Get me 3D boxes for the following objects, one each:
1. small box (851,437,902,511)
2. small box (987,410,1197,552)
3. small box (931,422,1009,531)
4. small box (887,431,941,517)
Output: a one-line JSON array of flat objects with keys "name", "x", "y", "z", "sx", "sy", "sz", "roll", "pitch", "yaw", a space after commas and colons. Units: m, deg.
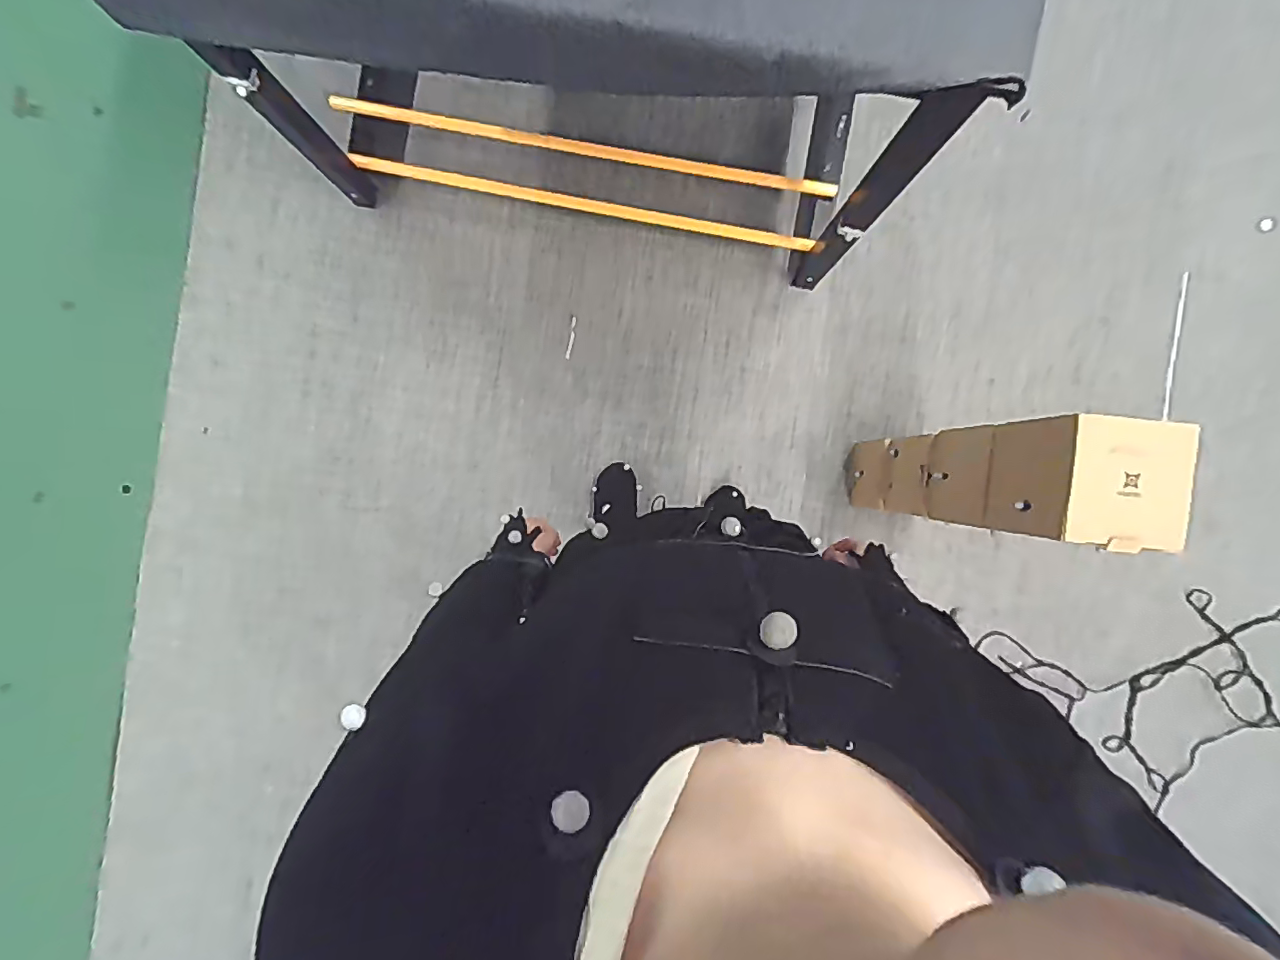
[{"name": "small box", "x": 0.625, "y": -0.010, "z": 1.285, "sx": 0.179, "sy": 0.176, "sz": 0.168, "roll": 4, "pitch": 90, "yaw": 0}, {"name": "small box", "x": 0.645, "y": 0.001, "z": 0.794, "sx": 0.168, "sy": 0.176, "sz": 0.179, "roll": 5, "pitch": 90, "yaw": -1}, {"name": "small box", "x": 0.642, "y": -0.004, "z": 0.958, "sx": 0.168, "sy": 0.176, "sz": 0.179, "roll": 5, "pitch": 91, "yaw": 0}, {"name": "small box", "x": 0.638, "y": -0.006, "z": 1.121, "sx": 0.179, "sy": 0.176, "sz": 0.168, "roll": 5, "pitch": 91, "yaw": -1}]
